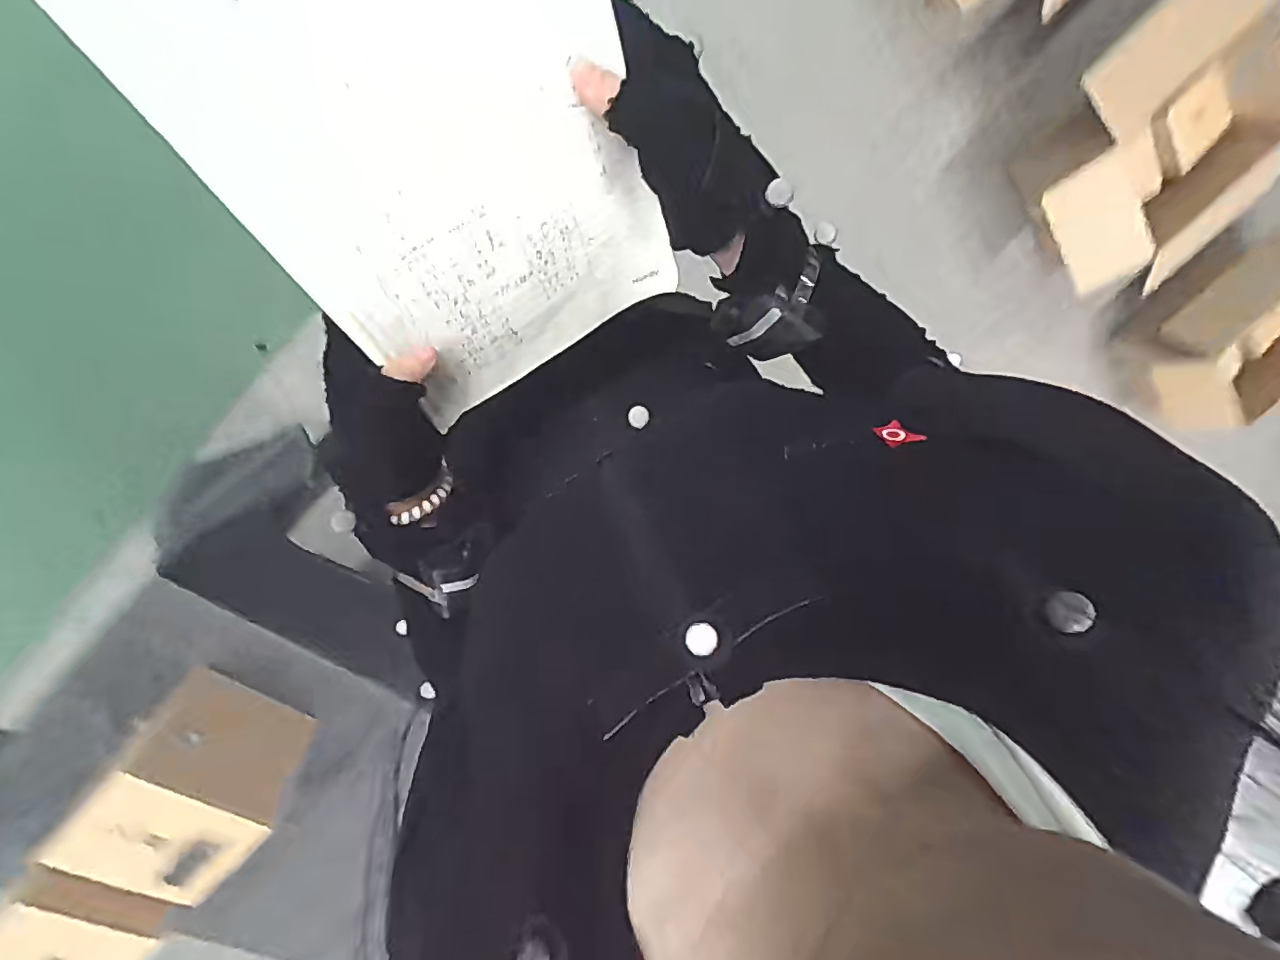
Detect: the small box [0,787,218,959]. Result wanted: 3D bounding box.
[{"bbox_3d":[-0.730,0.566,0.731,0.179,0.176,0.168,-43,114,6],"label":"small box"}]
